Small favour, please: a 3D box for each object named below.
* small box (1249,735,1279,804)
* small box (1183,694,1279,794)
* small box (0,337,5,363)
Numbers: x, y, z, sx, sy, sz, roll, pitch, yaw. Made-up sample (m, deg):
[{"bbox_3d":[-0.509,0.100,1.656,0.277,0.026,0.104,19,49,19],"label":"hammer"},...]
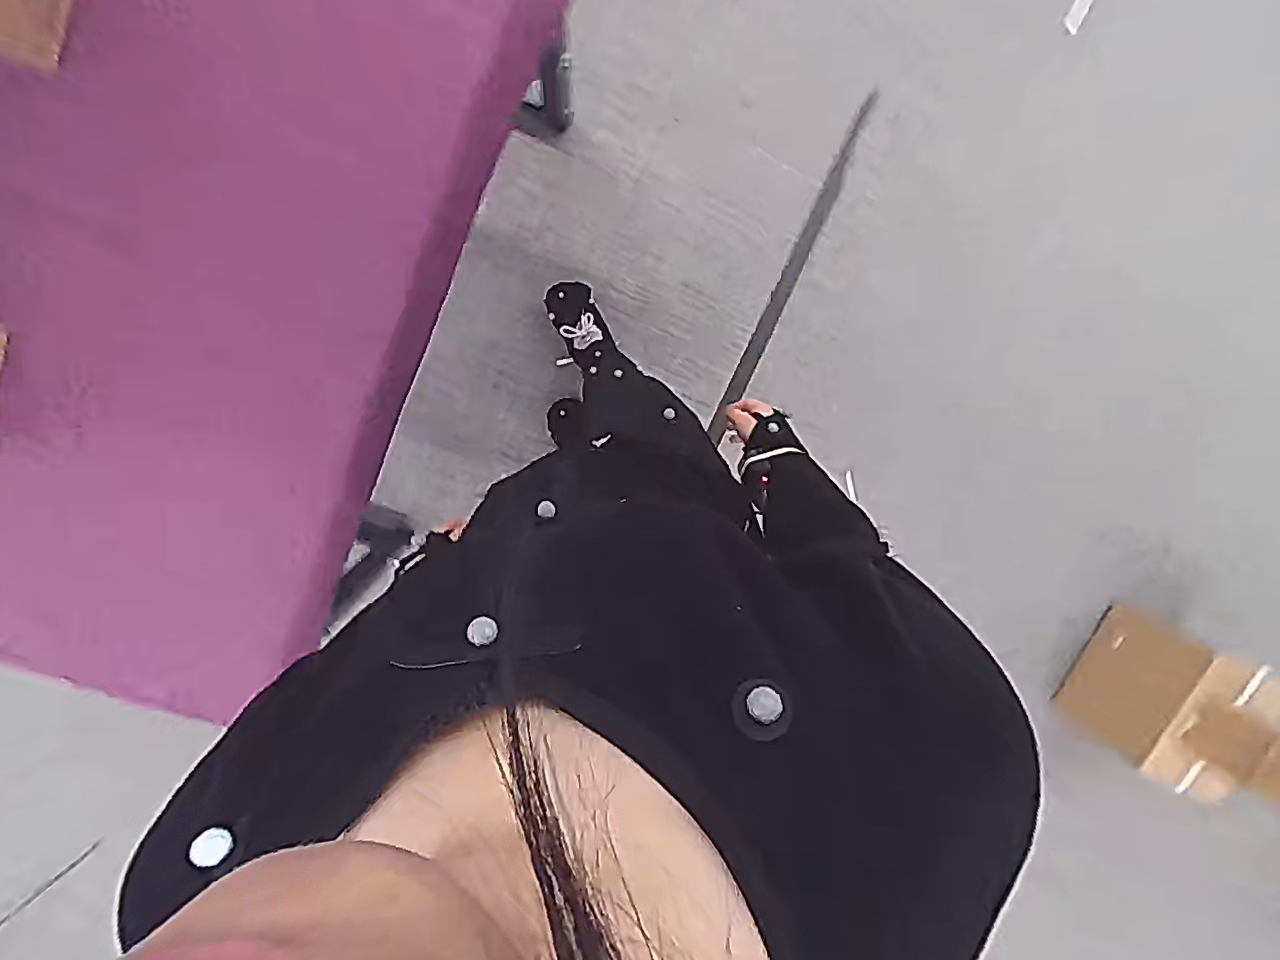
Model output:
[{"bbox_3d":[1.609,0.721,1.253,0.179,0.176,0.168,22,98,-8],"label":"small box"},{"bbox_3d":[1.601,0.696,1.413,0.168,0.176,0.179,21,100,-8],"label":"small box"},{"bbox_3d":[-0.844,-0.112,0.559,0.179,0.176,0.168,21,98,-12],"label":"small box"}]
